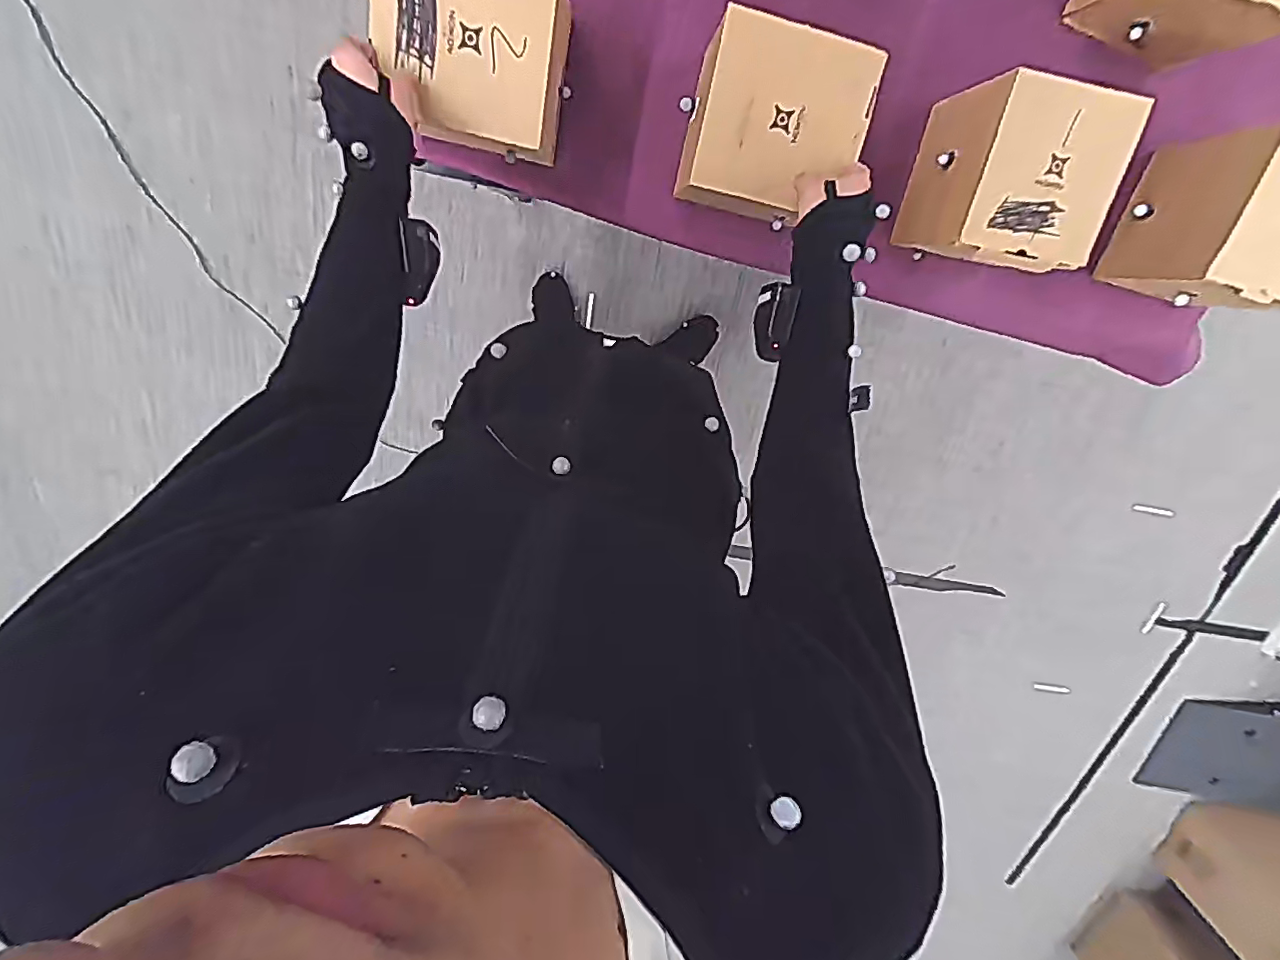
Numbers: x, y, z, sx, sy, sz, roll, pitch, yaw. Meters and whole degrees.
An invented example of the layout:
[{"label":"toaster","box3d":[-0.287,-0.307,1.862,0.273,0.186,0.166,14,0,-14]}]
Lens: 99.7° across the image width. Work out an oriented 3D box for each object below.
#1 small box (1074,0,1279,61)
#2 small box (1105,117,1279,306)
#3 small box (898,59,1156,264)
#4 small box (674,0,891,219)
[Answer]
[{"label":"small box","box3d":[0.640,-0.608,0.589,0.168,0.176,0.179,16,113,-9]},{"label":"small box","box3d":[0.774,-0.337,0.707,0.168,0.176,0.179,12,110,-8]},{"label":"small box","box3d":[0.455,-0.377,0.675,0.168,0.176,0.179,8,112,-7]},{"label":"small box","box3d":[0.151,-0.418,0.642,0.179,0.176,0.168,10,111,-8]}]
